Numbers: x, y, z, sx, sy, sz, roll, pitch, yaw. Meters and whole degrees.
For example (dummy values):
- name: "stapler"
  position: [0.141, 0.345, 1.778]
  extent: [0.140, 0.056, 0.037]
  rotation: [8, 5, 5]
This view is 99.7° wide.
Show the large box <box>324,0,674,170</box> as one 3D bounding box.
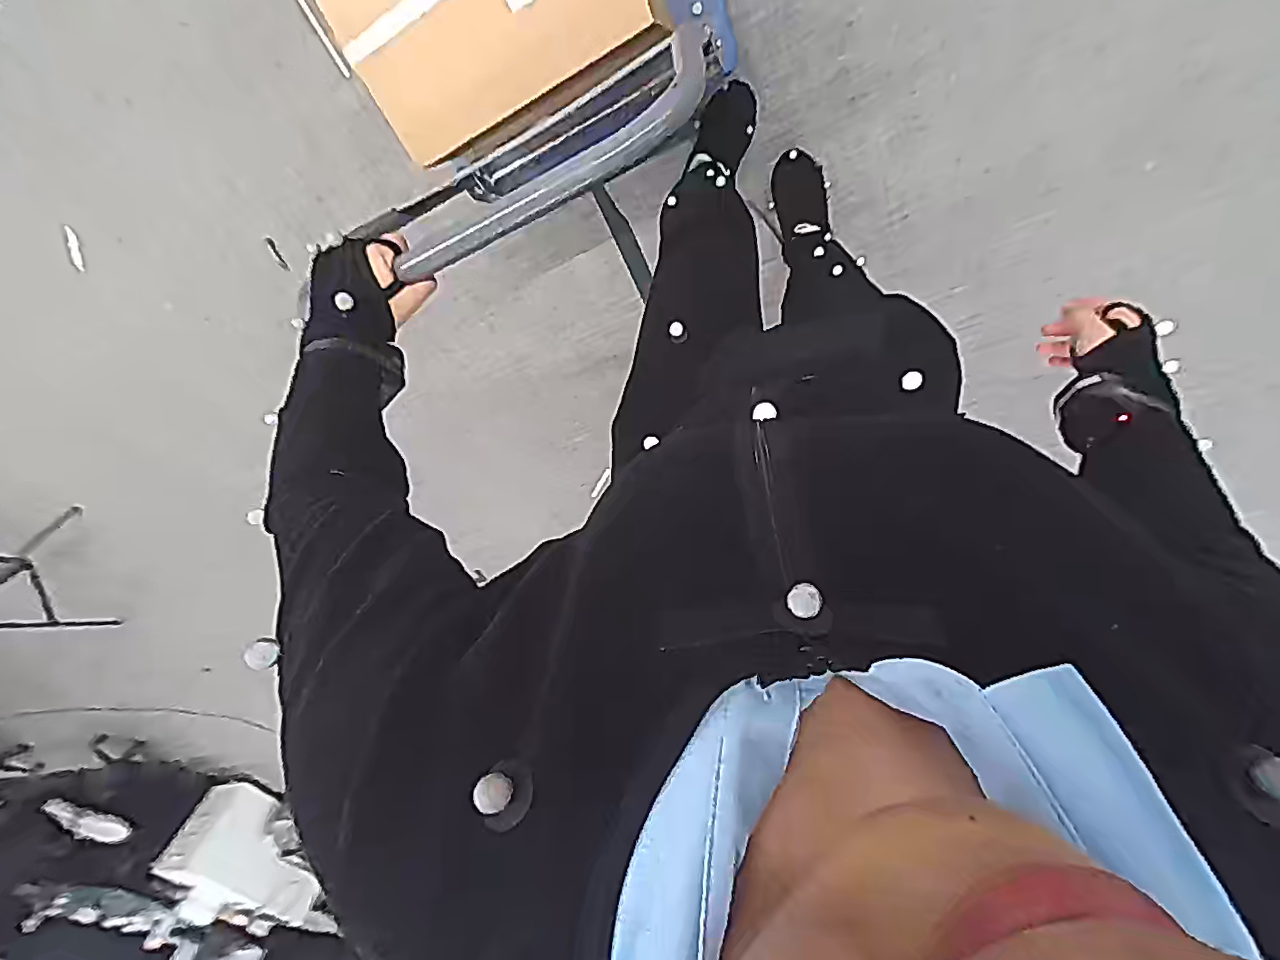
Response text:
- name: "large box"
  position: [-0.199, -0.733, 0.810]
  extent: [0.408, 0.320, 0.320]
  rotation: [-17, 122, 21]
